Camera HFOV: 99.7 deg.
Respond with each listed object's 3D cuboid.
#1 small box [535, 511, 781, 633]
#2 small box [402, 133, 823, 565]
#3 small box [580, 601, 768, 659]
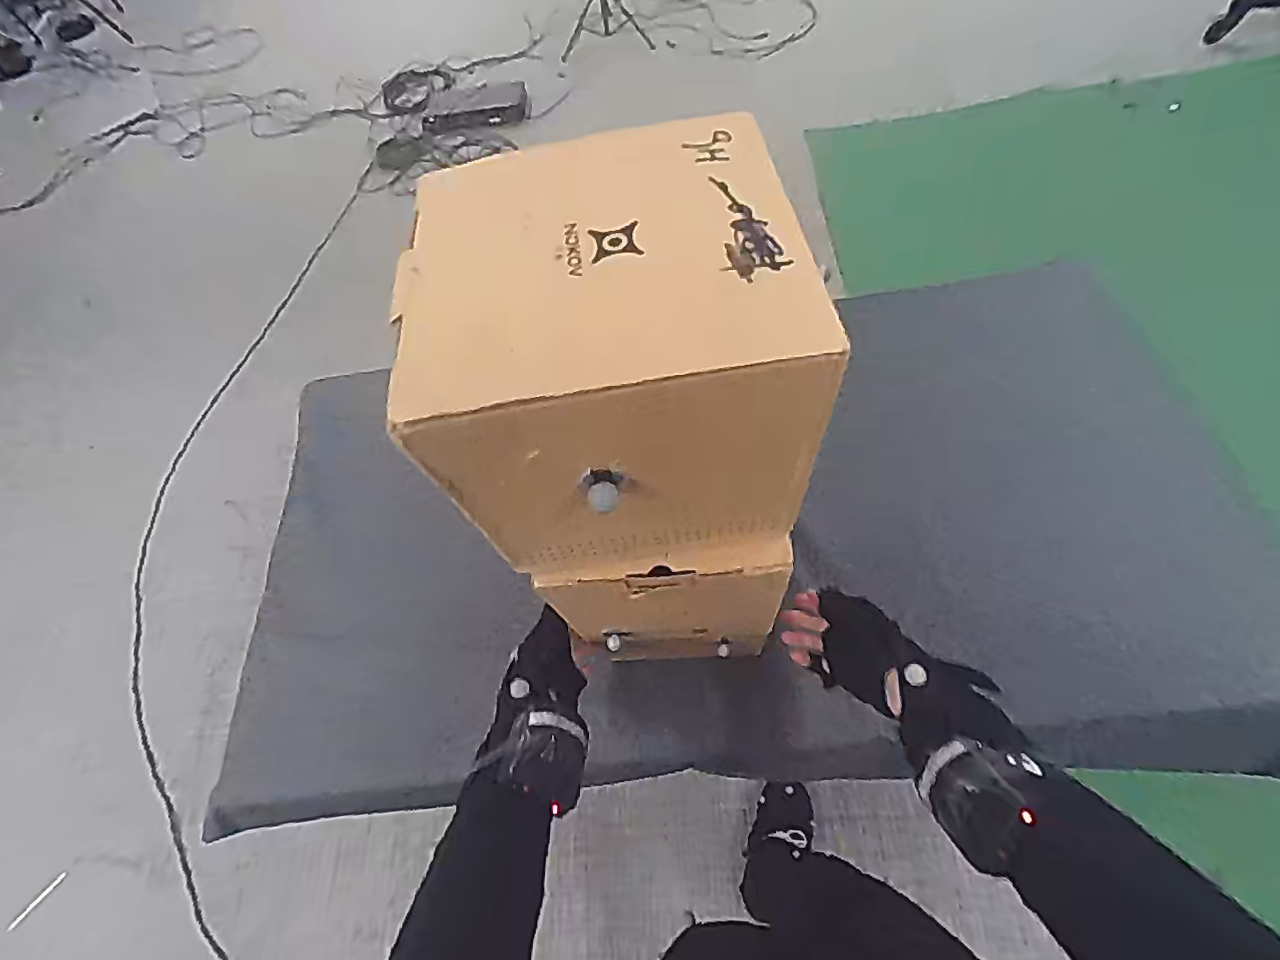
[{"bbox_3d":[0.016,0.025,0.455,0.168,0.176,0.179,-7,62,4],"label":"small box"},{"bbox_3d":[-0.013,-0.064,0.323,0.179,0.176,0.168,-12,58,1],"label":"small box"},{"bbox_3d":[0.039,0.097,0.601,0.179,0.176,0.168,-6,60,7],"label":"small box"}]
